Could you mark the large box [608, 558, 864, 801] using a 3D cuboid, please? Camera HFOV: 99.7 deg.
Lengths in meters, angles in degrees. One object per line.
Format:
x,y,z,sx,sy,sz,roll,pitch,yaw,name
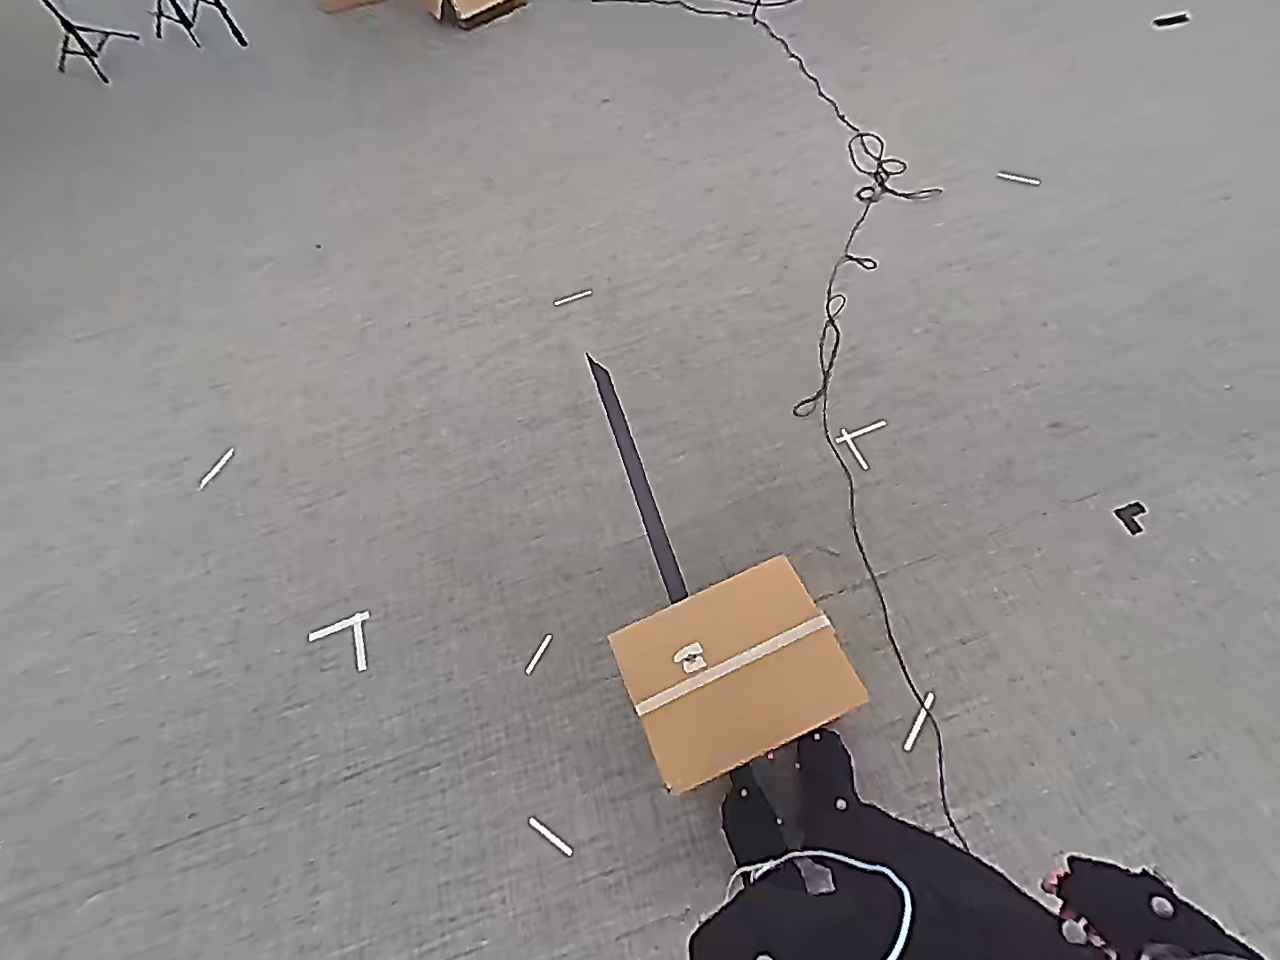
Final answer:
0.195,0.427,1.165,0.408,0.320,0.320,-25,61,-3,large box
